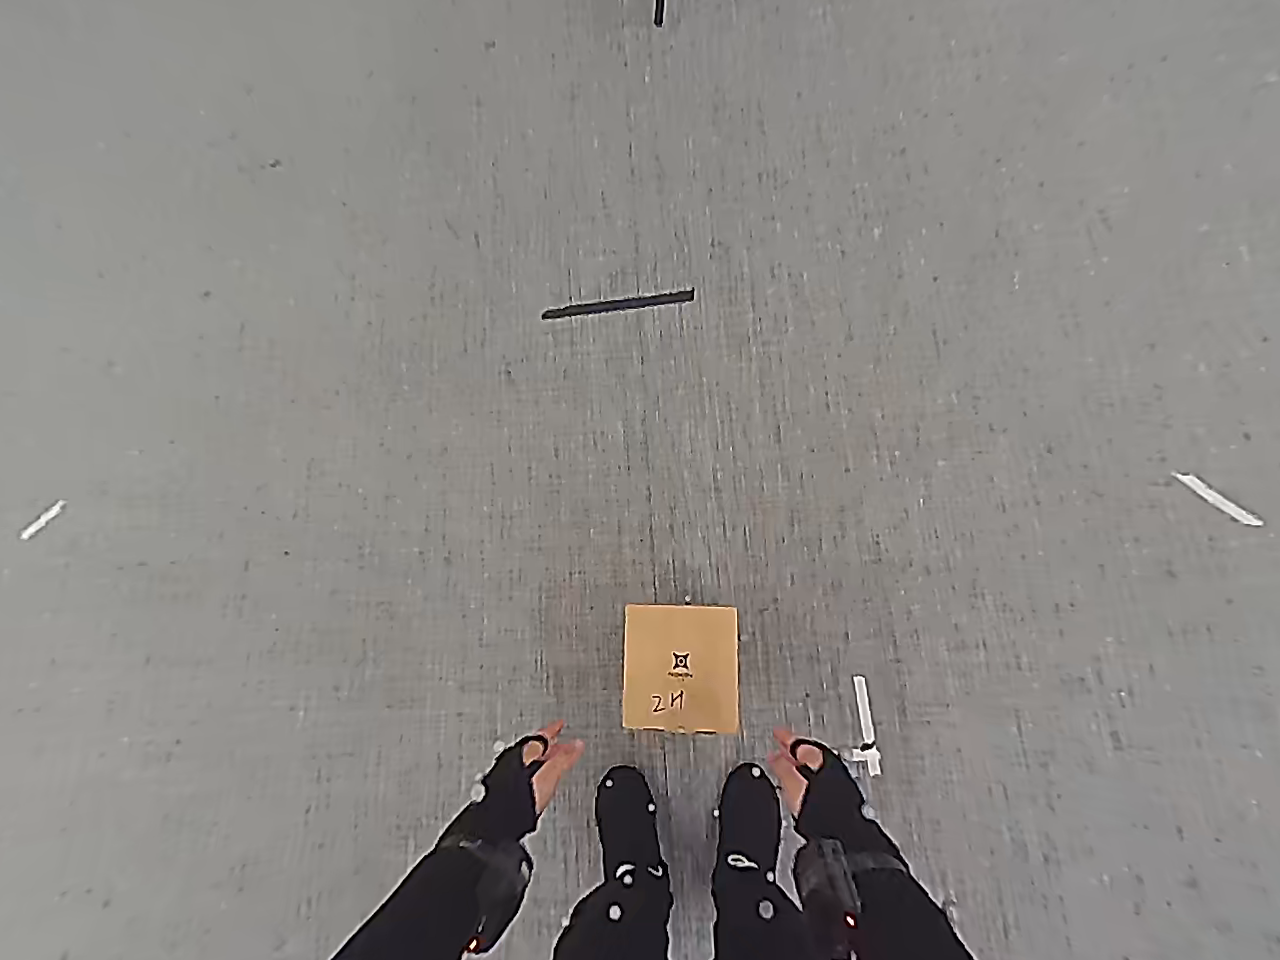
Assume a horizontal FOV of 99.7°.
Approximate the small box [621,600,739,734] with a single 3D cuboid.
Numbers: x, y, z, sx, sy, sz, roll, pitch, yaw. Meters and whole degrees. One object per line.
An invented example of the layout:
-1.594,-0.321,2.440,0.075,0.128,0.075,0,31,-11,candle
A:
0.067,0.281,0.846,0.168,0.176,0.179,0,78,8,small box
